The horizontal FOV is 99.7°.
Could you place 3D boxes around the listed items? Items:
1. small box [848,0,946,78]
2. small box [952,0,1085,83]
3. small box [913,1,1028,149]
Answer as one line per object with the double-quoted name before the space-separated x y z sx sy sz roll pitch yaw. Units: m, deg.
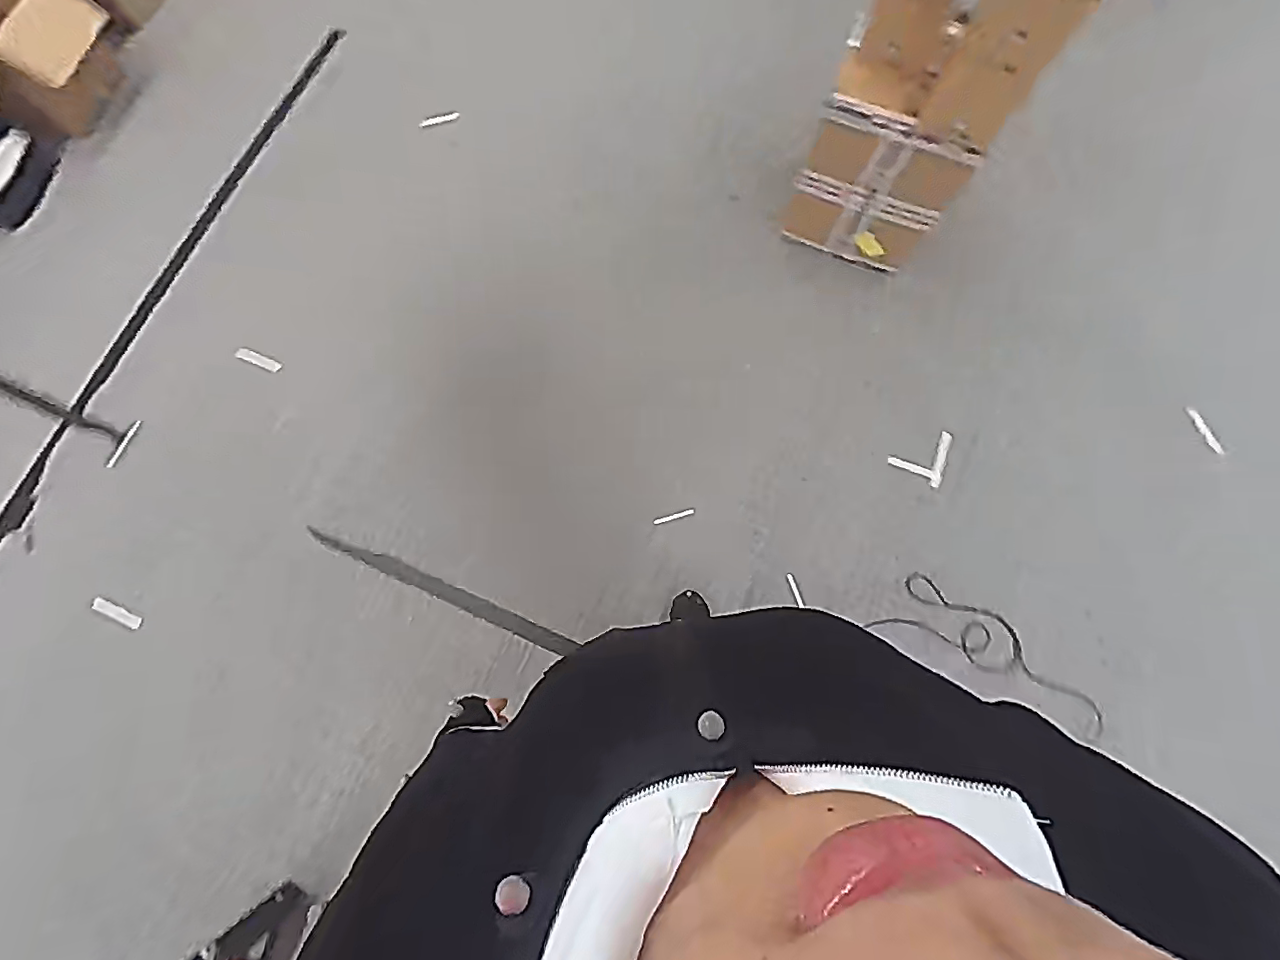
"small box" 0.599 -1.081 1.236 0.168 0.176 0.179 22 80 7
"small box" 0.735 -0.917 1.033 0.168 0.176 0.179 26 81 5
"small box" 0.736 -0.885 1.194 0.168 0.176 0.179 22 81 5
